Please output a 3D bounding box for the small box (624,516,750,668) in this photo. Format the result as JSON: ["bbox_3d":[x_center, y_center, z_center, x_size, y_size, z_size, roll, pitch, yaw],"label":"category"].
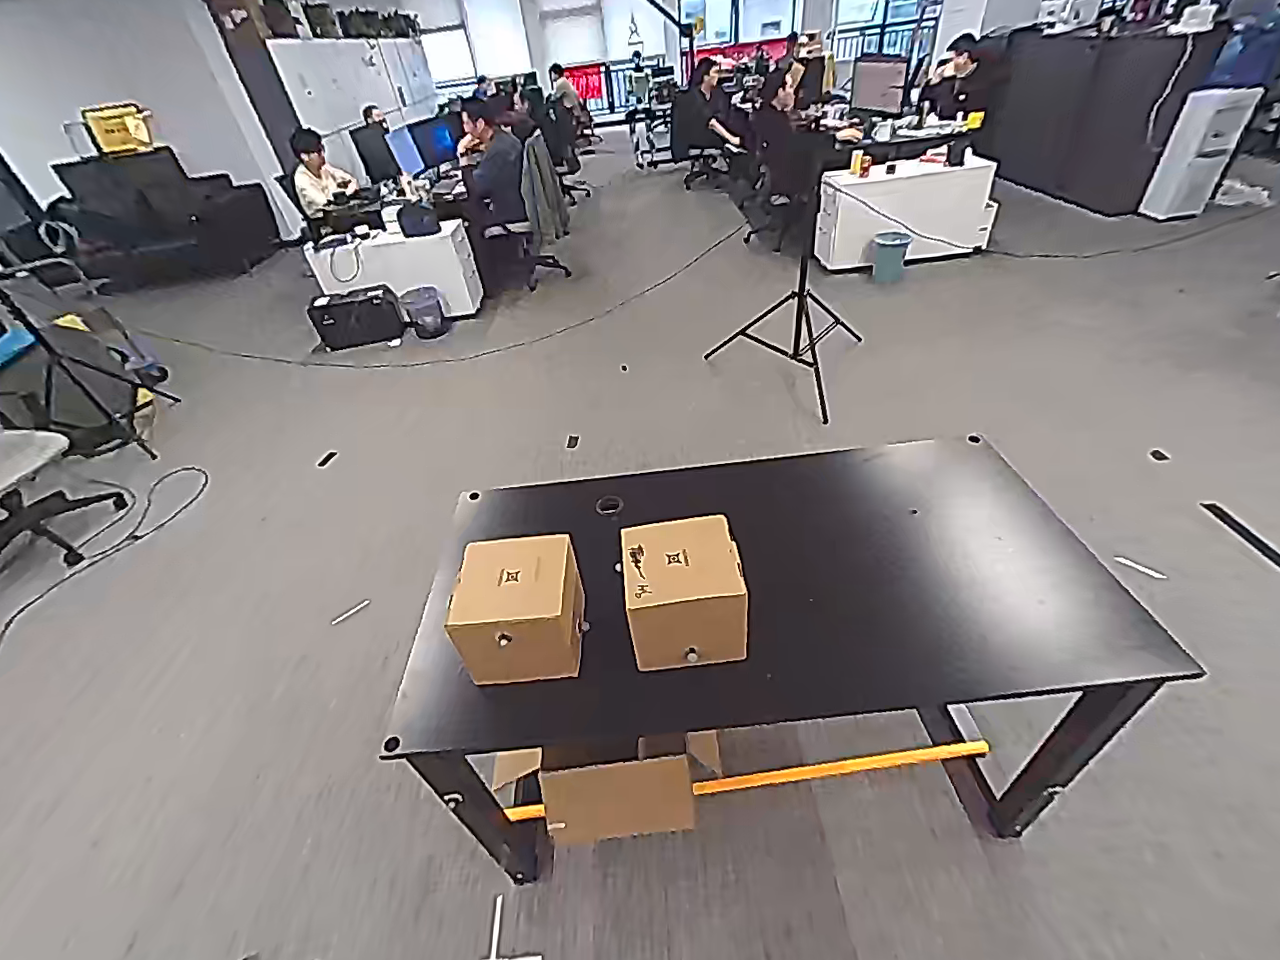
[{"bbox_3d":[0.071,0.182,0.874,0.179,0.176,0.168,-7,39,0],"label":"small box"}]

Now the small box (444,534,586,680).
[{"bbox_3d":[-0.191,0.210,0.884,0.179,0.176,0.168,-6,41,1],"label":"small box"}]
